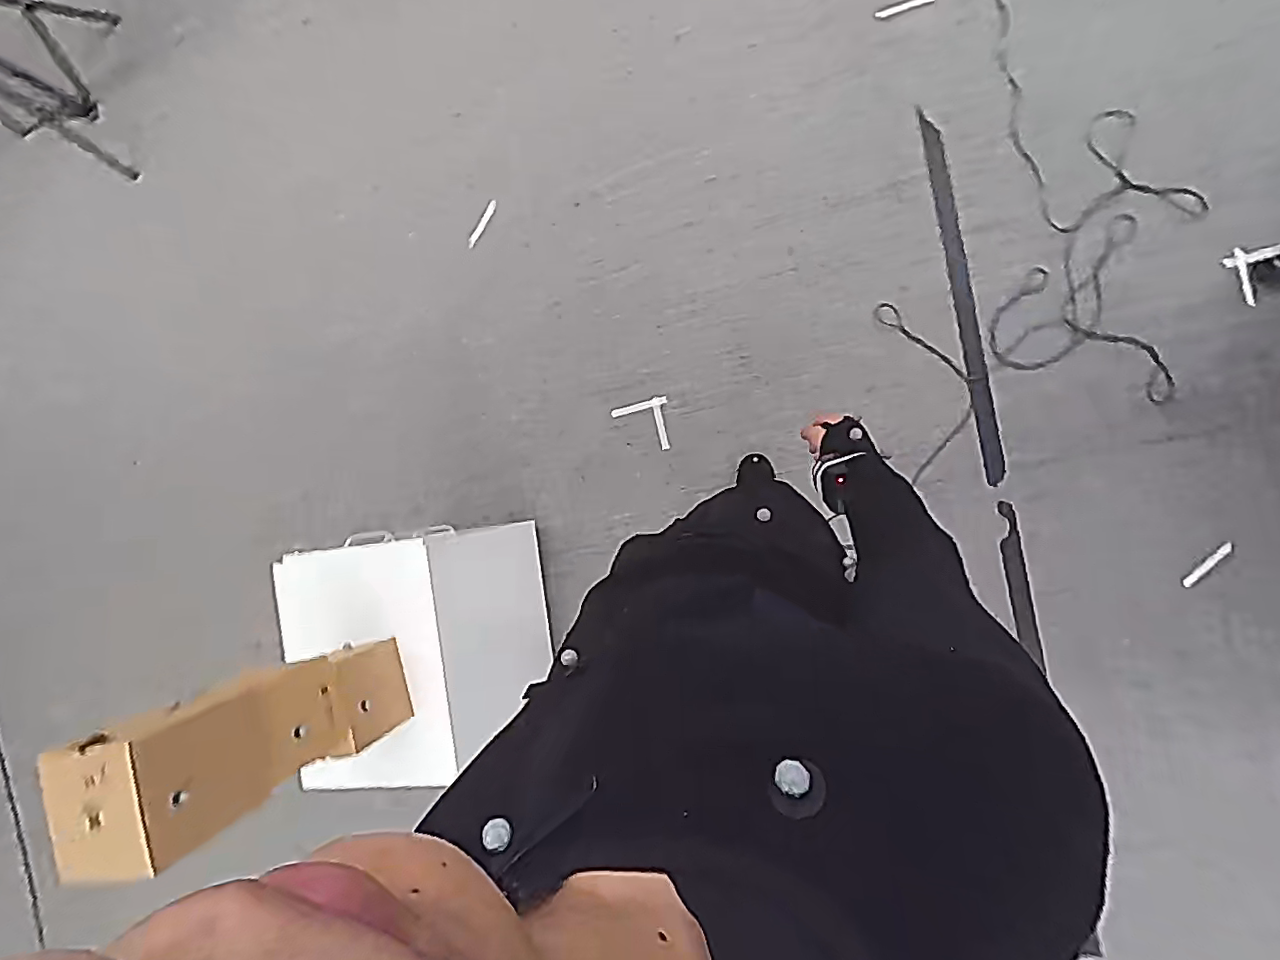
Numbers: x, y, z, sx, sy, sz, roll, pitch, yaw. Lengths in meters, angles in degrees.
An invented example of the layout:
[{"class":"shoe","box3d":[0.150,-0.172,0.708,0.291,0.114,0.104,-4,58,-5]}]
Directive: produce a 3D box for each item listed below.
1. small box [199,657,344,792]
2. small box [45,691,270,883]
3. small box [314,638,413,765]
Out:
[{"class":"small box","box3d":[-0.645,0.422,0.933,0.179,0.176,0.168,-15,88,13]},{"class":"small box","box3d":[-0.669,0.425,0.769,0.168,0.176,0.179,-13,88,13]},{"class":"small box","box3d":[-0.588,0.440,1.086,0.168,0.176,0.179,-16,87,12]}]
